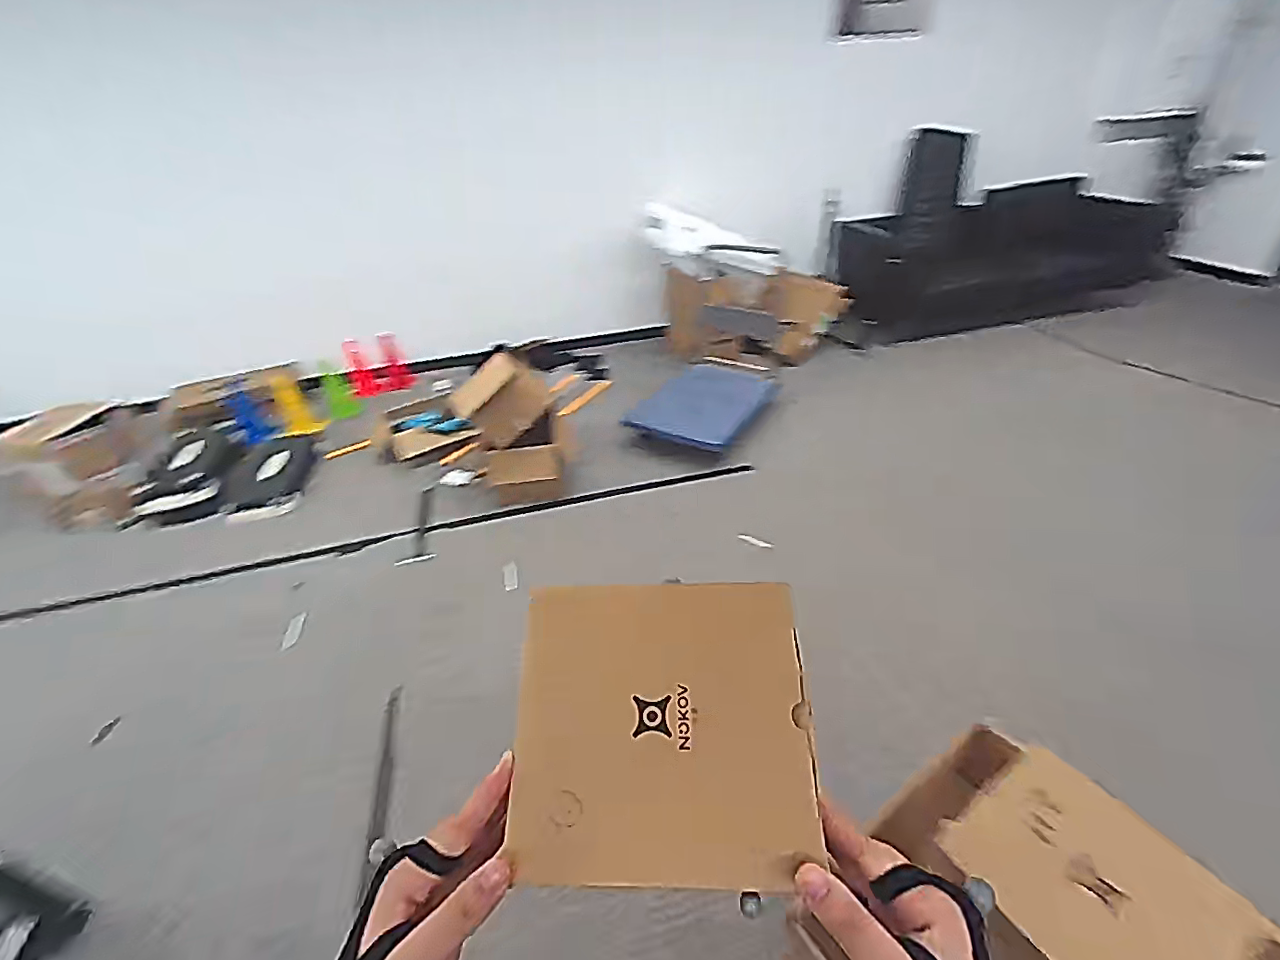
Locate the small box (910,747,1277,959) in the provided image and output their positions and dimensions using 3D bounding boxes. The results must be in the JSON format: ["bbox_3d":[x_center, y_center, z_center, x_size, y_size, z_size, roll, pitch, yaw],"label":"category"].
[{"bbox_3d":[0.385,0.398,0.494,0.168,0.176,0.179,-22,38,-23],"label":"small box"}]
